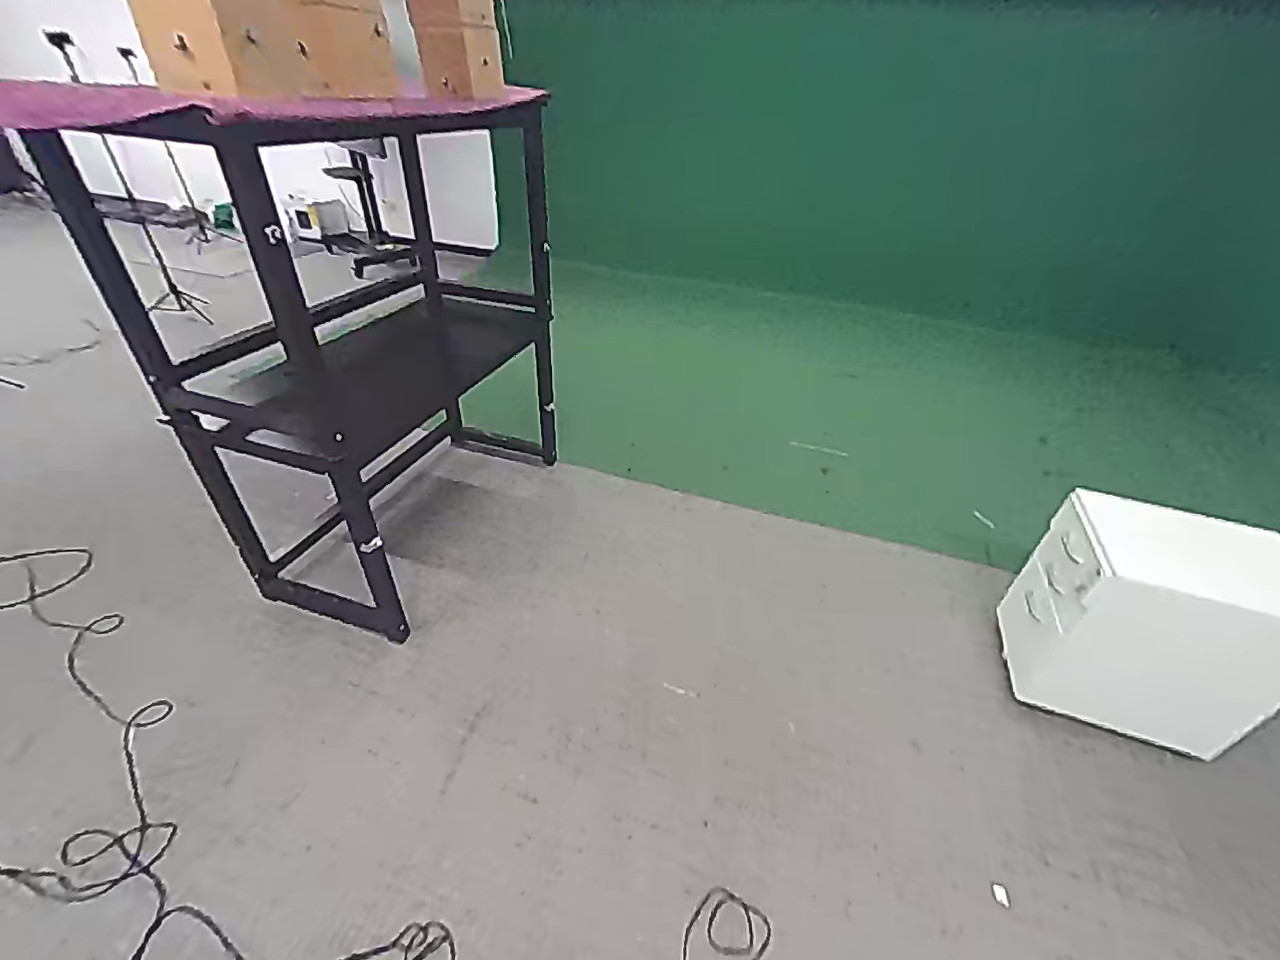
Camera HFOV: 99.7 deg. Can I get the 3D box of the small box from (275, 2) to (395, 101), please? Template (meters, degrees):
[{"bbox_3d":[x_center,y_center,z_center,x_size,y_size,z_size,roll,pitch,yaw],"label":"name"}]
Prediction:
[{"bbox_3d":[-0.702,-0.989,1.257,0.168,0.176,0.179,13,37,15],"label":"small box"}]

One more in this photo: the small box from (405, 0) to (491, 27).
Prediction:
[{"bbox_3d":[-0.527,-1.347,1.471,0.179,0.176,0.168,13,39,16],"label":"small box"}]

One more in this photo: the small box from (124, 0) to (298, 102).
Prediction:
[{"bbox_3d":[-0.777,-0.805,0.997,0.168,0.176,0.179,8,37,5],"label":"small box"}]

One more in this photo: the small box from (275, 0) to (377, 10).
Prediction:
[{"bbox_3d":[-0.702,-1.124,1.163,0.168,0.176,0.179,13,36,15],"label":"small box"}]
